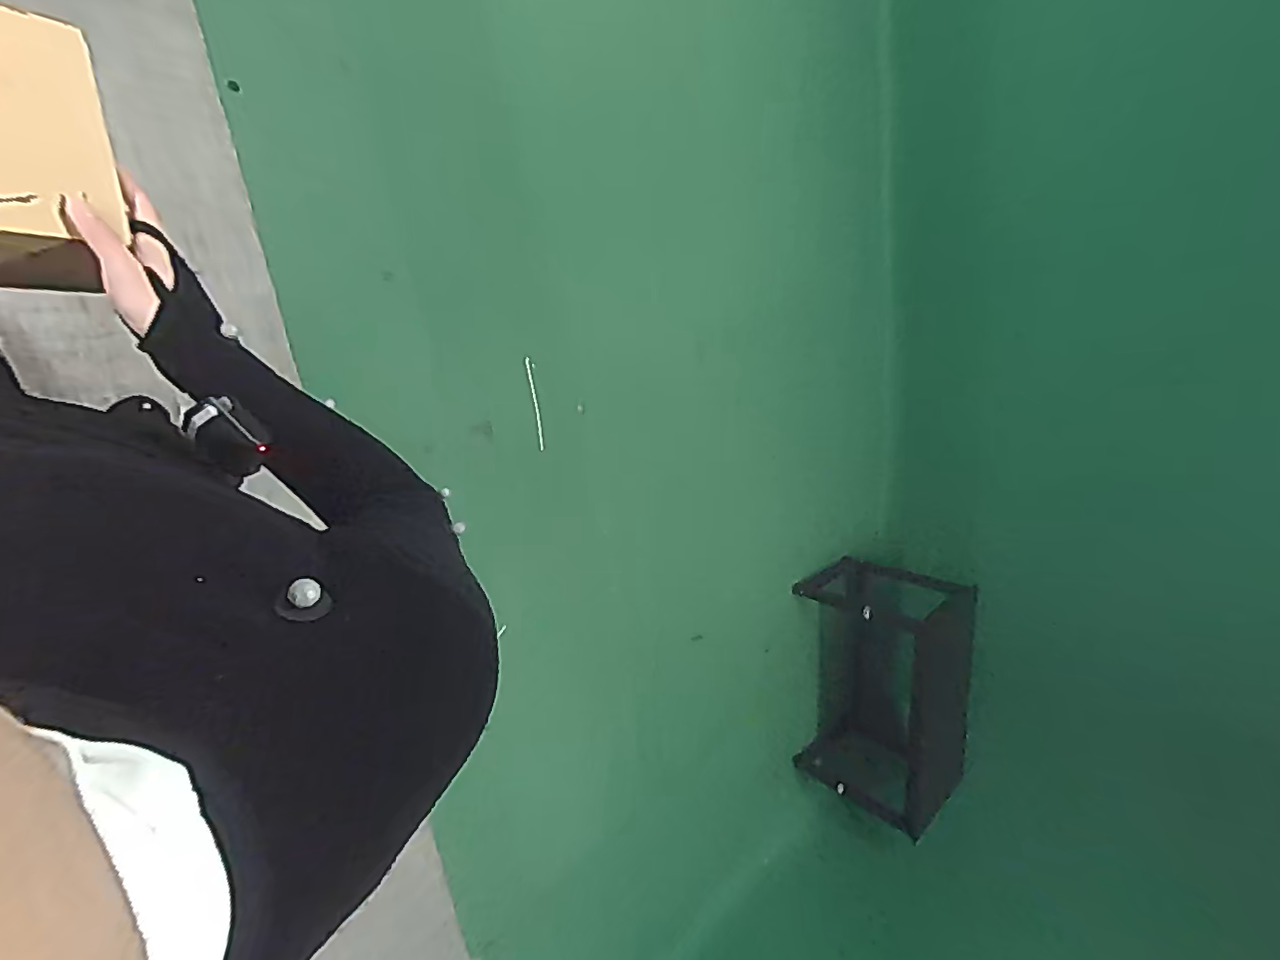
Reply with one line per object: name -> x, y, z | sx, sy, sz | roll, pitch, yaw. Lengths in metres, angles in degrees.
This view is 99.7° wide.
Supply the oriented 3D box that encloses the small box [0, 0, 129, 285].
small box -> -0.560, -0.276, 0.444 | 0.168, 0.176, 0.179 | -15, 101, -48
